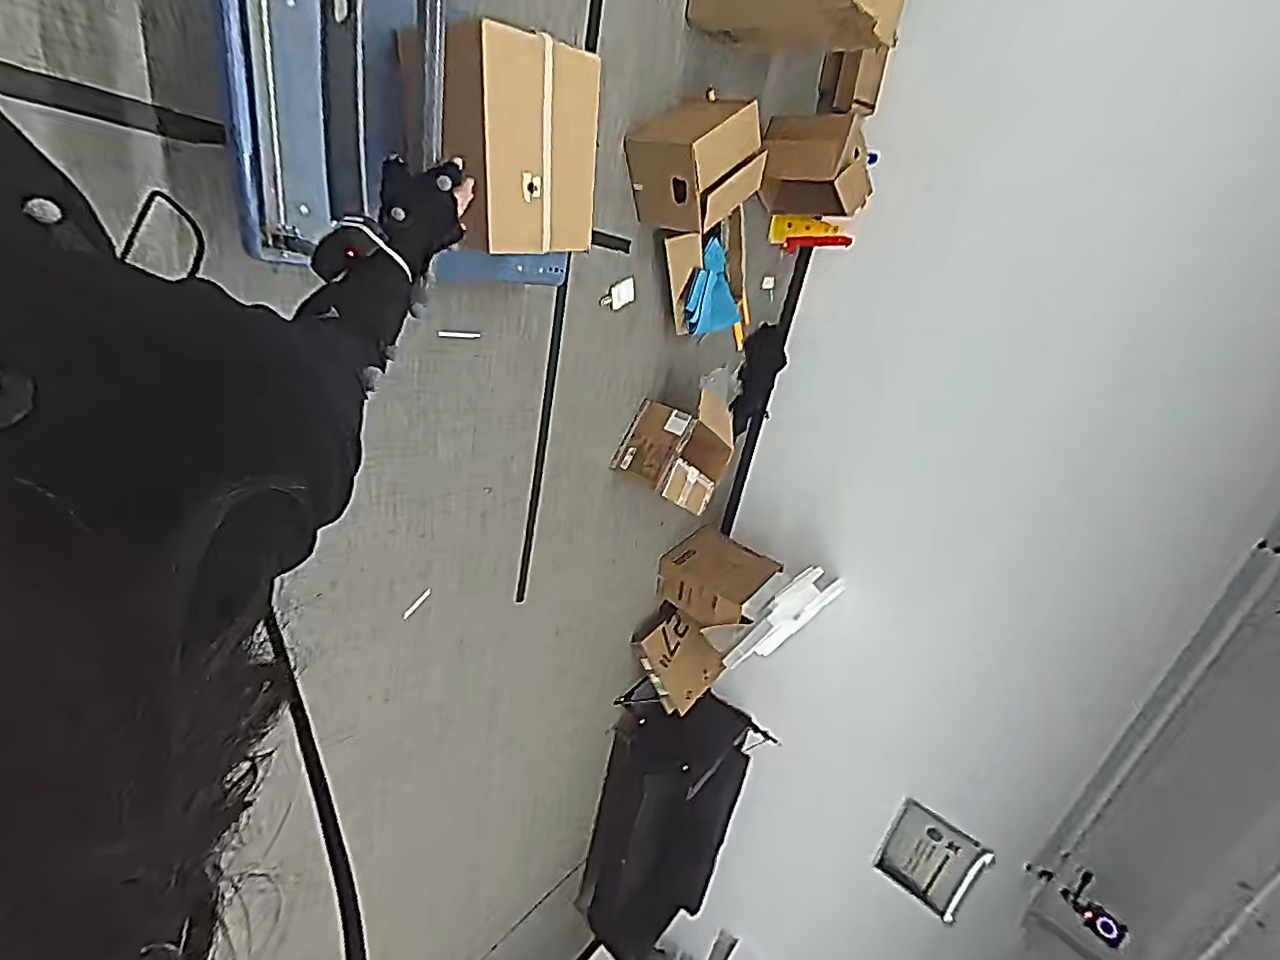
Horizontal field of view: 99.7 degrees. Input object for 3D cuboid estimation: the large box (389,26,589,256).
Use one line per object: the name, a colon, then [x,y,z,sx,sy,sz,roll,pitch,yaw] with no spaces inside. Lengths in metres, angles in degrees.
large box: [-0.344,-0.766,1.260,0.320,0.320,0.408,-25,133,-45]
